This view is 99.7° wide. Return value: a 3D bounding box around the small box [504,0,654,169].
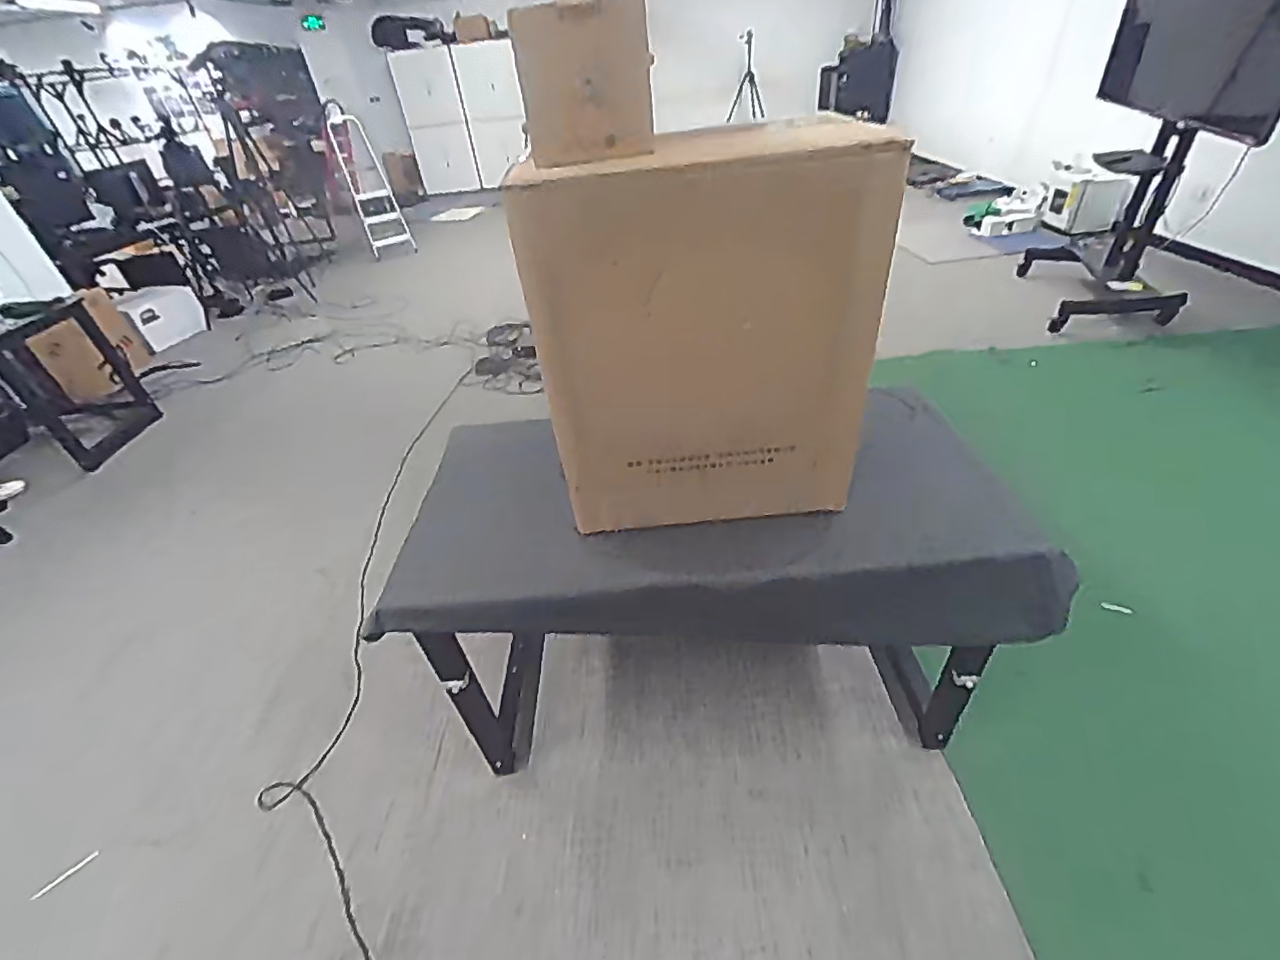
[{"bbox_3d":[-0.076,-0.542,0.743,0.168,0.176,0.179,-8,41,0],"label":"small box"}]
